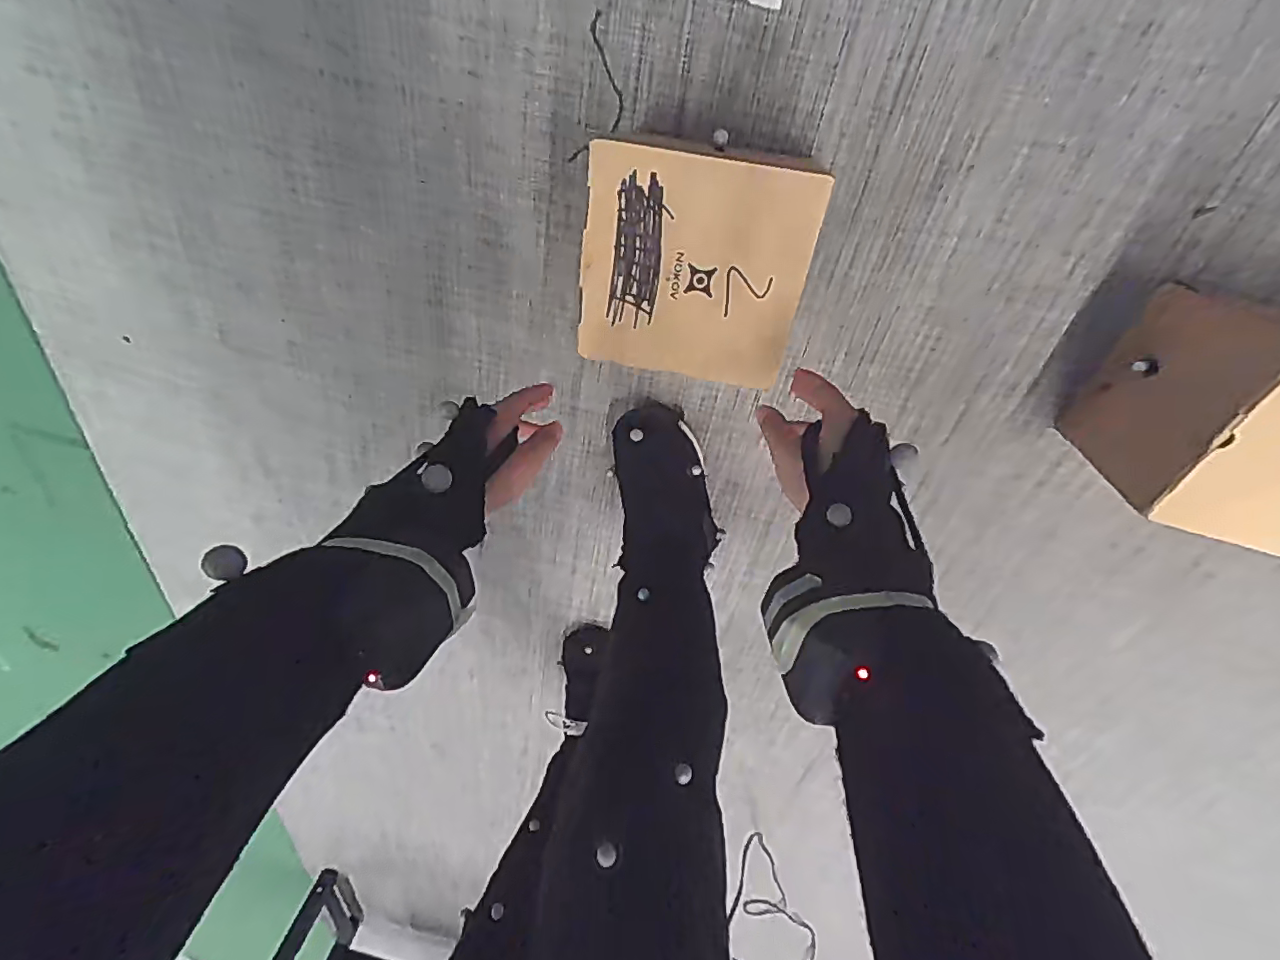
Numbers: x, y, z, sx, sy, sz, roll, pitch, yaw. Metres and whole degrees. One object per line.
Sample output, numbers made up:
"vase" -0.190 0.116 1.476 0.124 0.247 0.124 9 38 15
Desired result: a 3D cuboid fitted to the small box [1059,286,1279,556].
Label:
"small box" 0.538 -0.056 0.480 0.179 0.176 0.168 15 125 2
